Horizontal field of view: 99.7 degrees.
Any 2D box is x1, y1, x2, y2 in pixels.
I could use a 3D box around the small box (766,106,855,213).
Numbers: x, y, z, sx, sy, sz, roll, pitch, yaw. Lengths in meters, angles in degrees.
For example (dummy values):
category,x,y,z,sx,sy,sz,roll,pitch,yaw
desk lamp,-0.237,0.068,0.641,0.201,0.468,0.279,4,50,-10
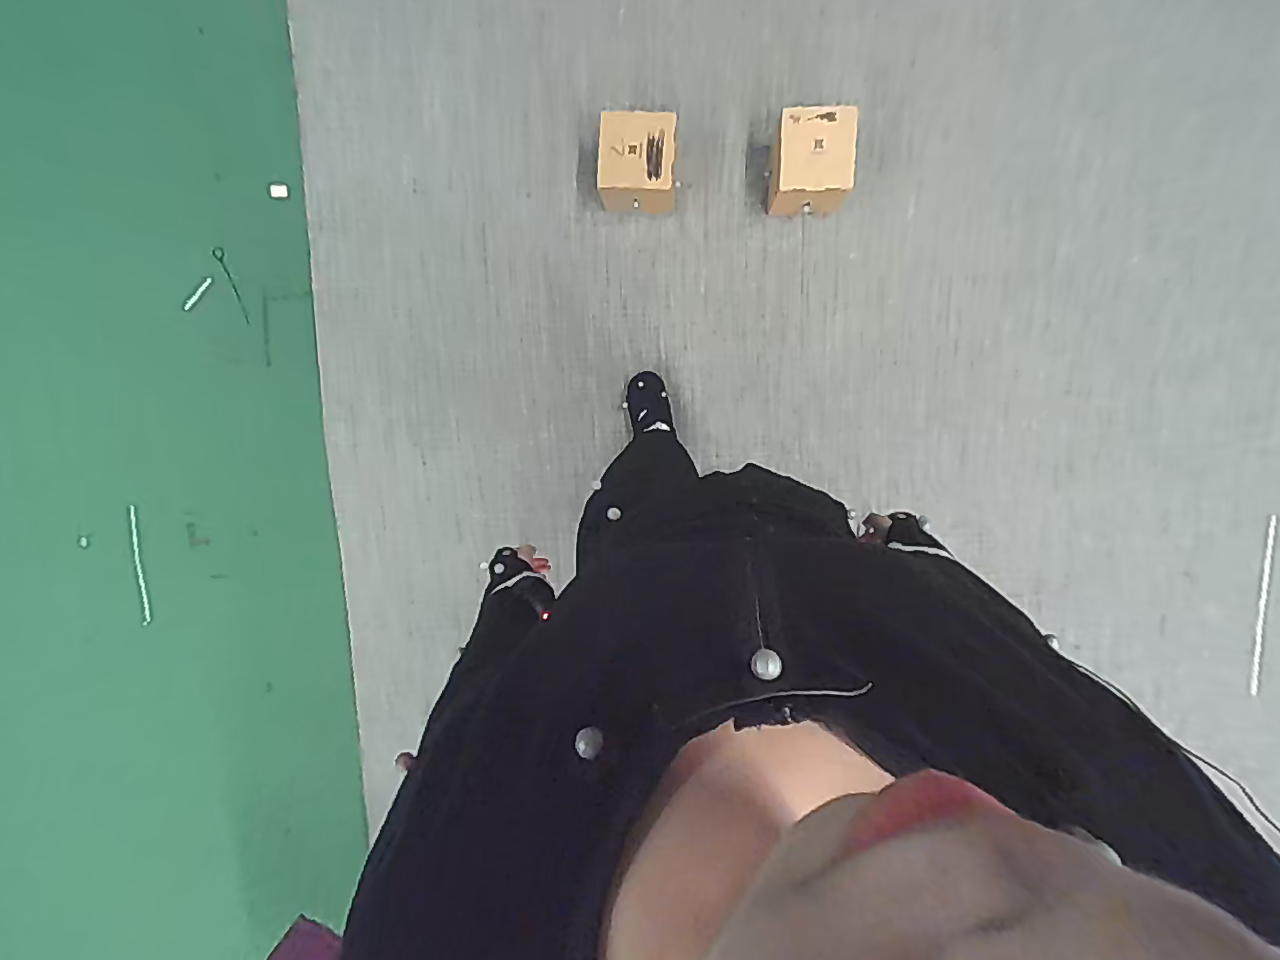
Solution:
category,x,y,z,sx,sy,sz,roll,pitch,yaw
small box,0.397,-0.748,1.282,0.168,0.176,0.179,1,98,4
